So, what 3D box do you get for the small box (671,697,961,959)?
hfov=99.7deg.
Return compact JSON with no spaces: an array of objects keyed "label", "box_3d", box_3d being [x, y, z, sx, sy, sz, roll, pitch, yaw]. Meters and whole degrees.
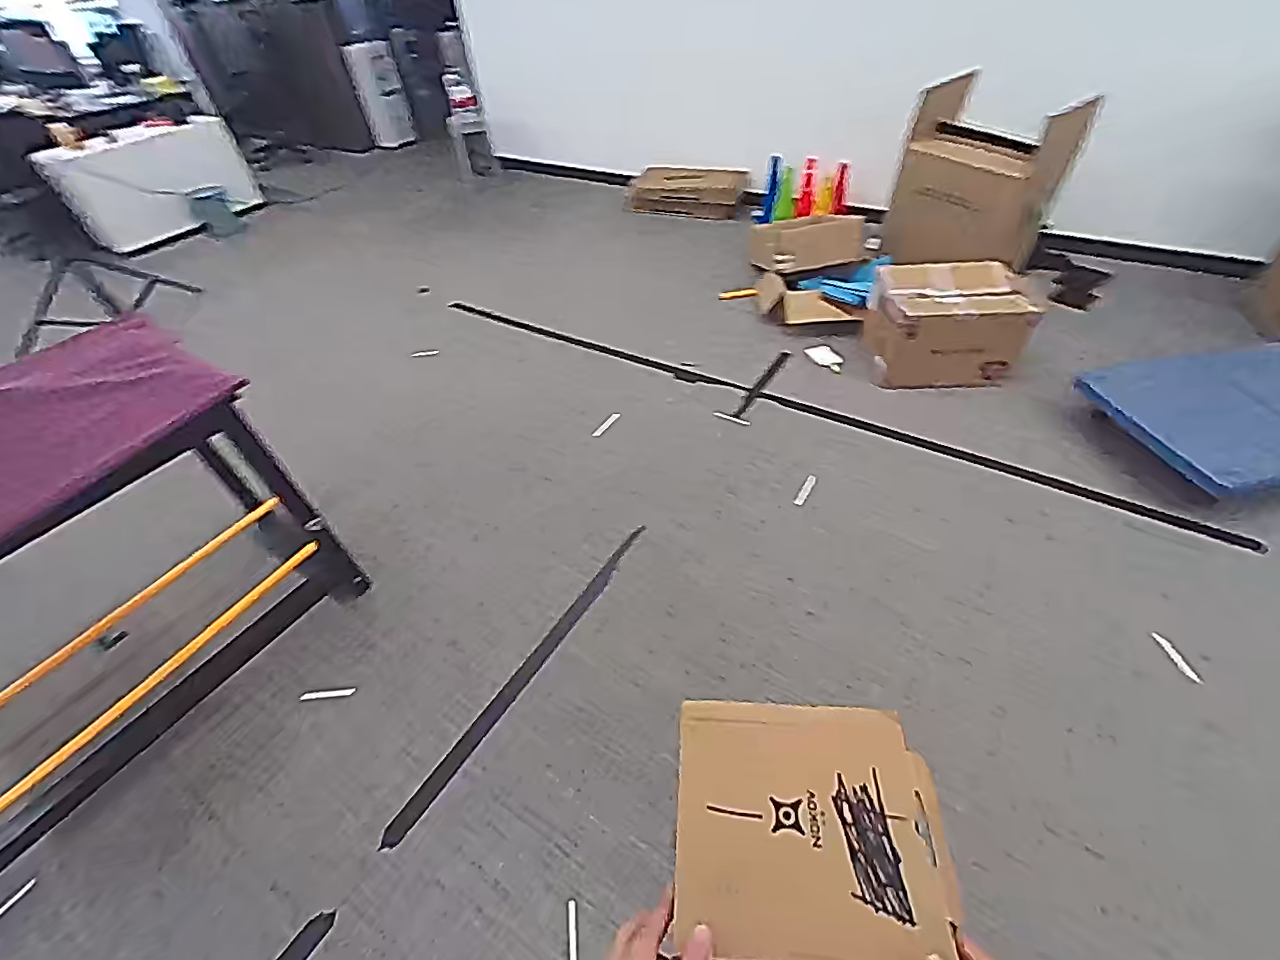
[{"label":"small box","box_3d":[0.117,0.295,0.437,0.179,0.176,0.168,0,44,6]}]
